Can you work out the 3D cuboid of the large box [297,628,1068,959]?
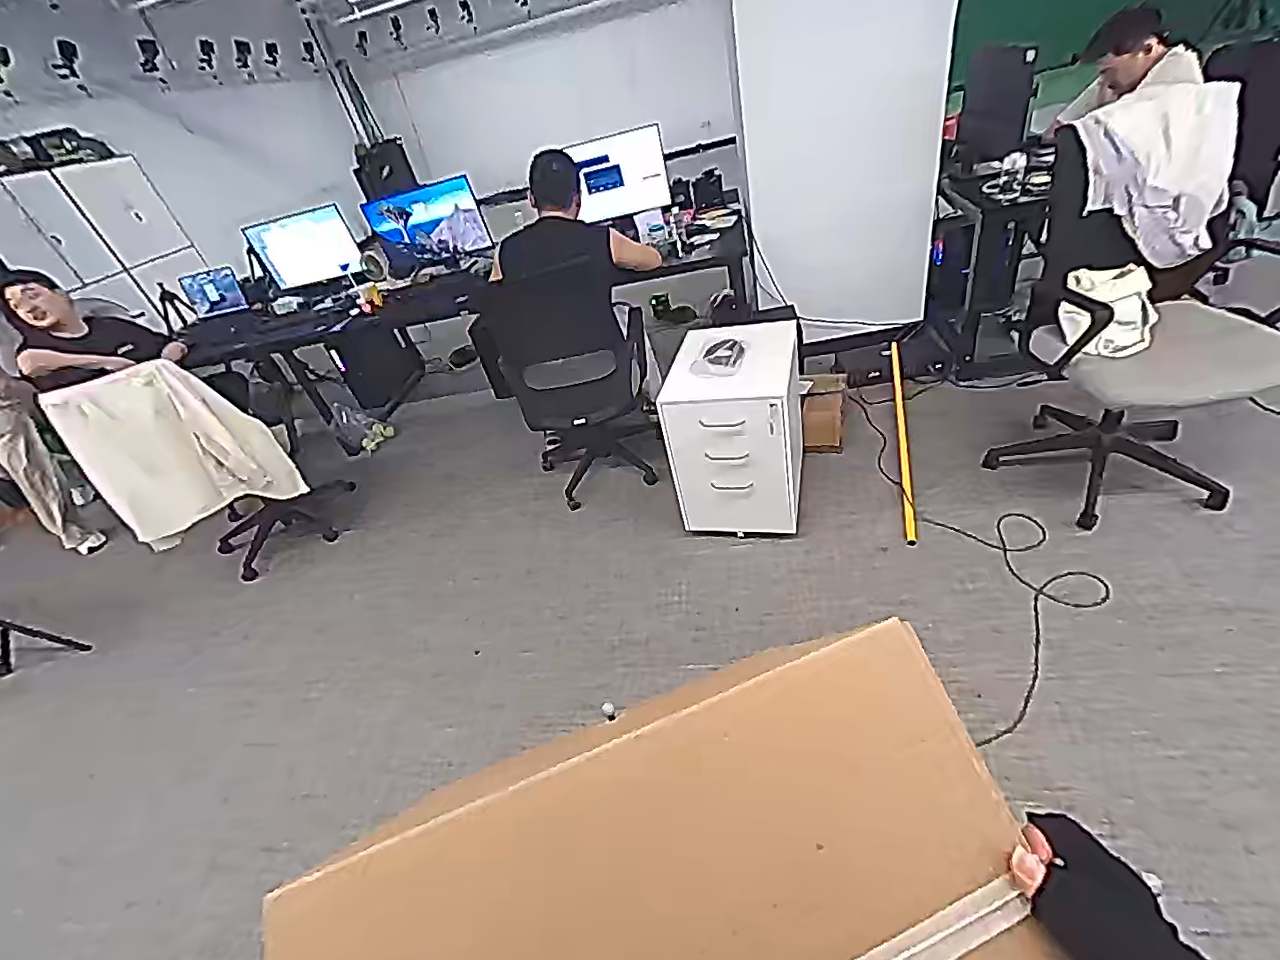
[{"bbox_3d":[0.040,0.349,0.433,0.408,0.320,0.320,-20,72,-9],"label":"large box"}]
